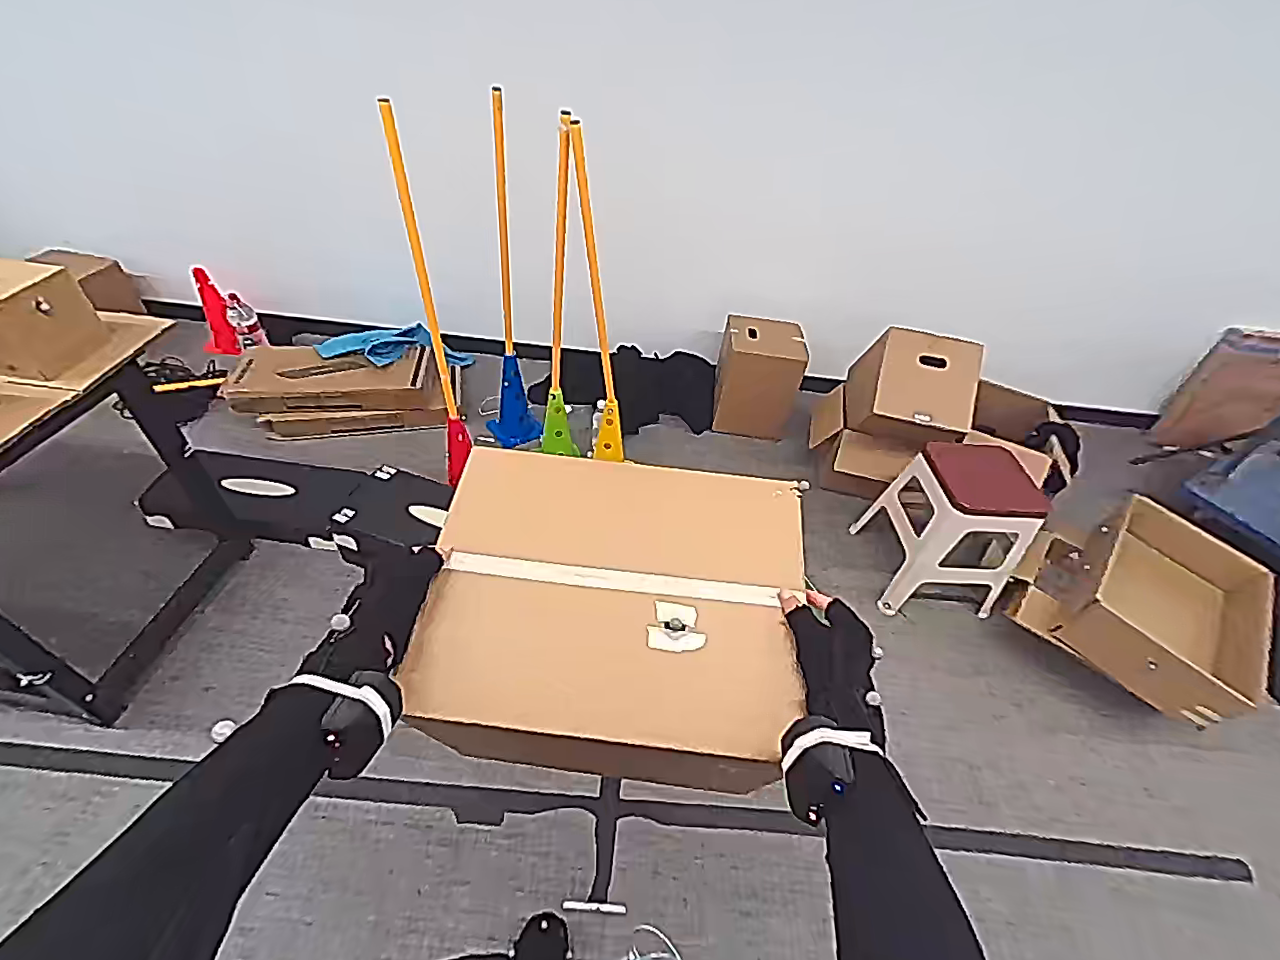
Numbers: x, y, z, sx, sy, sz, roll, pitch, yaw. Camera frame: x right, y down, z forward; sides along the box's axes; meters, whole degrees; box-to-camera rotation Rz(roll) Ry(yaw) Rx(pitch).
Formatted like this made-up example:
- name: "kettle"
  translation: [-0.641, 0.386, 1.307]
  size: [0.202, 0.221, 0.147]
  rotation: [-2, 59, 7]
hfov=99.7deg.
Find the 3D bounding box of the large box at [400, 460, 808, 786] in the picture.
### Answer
- name: "large box"
  translation: [-0.031, 0.201, 0.721]
  size: [0.408, 0.320, 0.320]
  rotation: [7, 56, 1]
